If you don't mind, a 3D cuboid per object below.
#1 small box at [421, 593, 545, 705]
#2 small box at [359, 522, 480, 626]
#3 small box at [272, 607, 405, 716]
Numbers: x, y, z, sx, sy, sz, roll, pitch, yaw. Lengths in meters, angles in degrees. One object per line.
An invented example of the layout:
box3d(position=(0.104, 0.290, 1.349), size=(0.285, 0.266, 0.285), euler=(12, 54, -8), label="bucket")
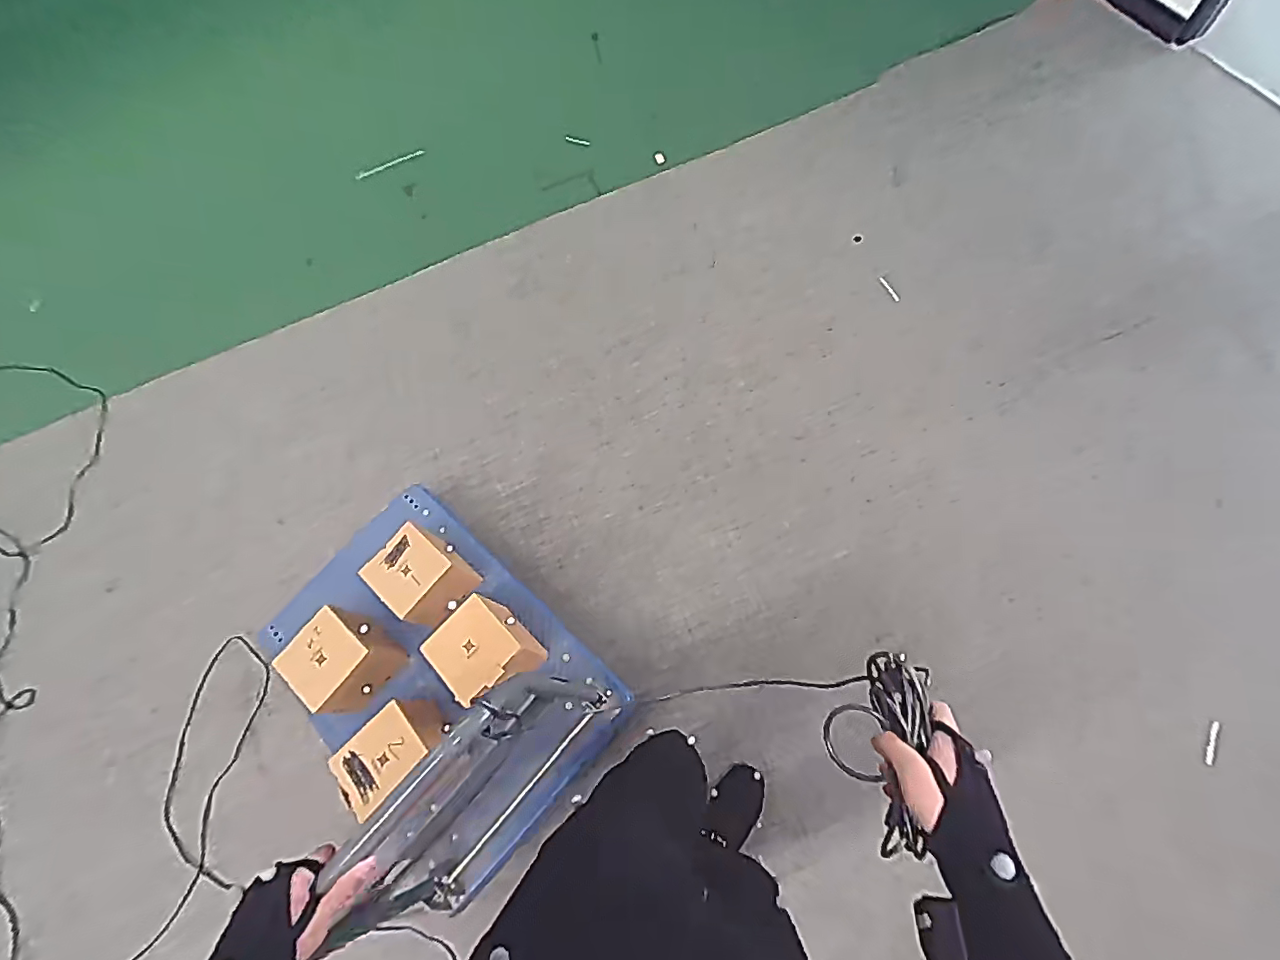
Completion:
box3d(position=(-0.345, 0.387, 1.215), size=(0.179, 0.176, 0.168), euler=(39, 79, 22), label="small box")
box3d(position=(-0.529, 0.236, 1.315), size=(0.179, 0.176, 0.168), euler=(36, 78, 22), label="small box")
box3d(position=(-0.693, 0.425, 1.262), size=(0.179, 0.176, 0.168), euler=(34, 76, 22), label="small box")
